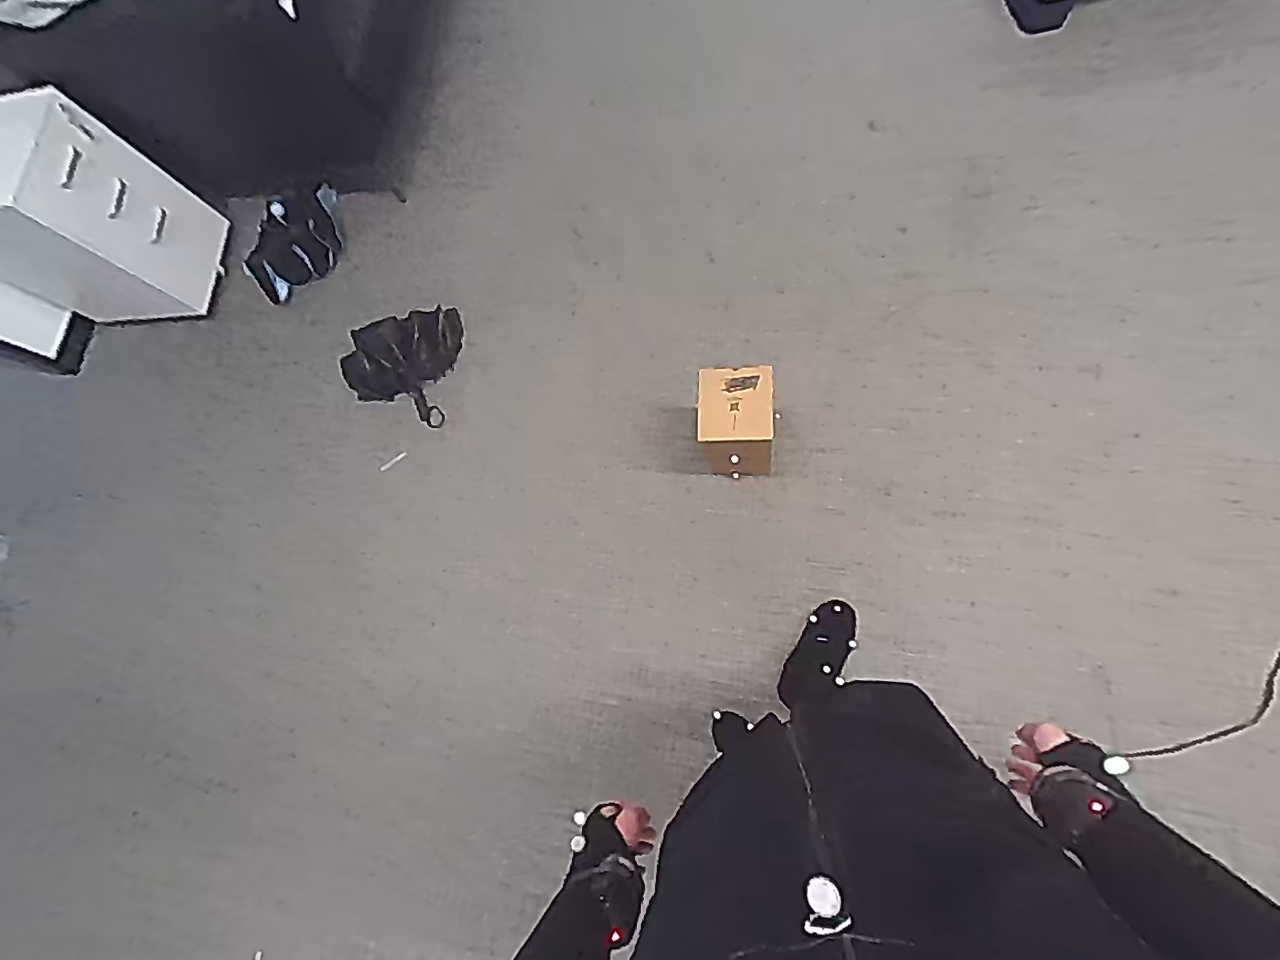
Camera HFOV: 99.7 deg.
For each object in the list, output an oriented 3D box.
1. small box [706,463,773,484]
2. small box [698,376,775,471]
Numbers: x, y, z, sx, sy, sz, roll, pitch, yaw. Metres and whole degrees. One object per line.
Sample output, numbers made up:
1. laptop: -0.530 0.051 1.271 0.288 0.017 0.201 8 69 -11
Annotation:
1. small box: 0.268 -0.094 1.431 0.168 0.176 0.179 1 77 13
2. small box: 0.231 -0.128 1.274 0.168 0.176 0.179 0 76 13
